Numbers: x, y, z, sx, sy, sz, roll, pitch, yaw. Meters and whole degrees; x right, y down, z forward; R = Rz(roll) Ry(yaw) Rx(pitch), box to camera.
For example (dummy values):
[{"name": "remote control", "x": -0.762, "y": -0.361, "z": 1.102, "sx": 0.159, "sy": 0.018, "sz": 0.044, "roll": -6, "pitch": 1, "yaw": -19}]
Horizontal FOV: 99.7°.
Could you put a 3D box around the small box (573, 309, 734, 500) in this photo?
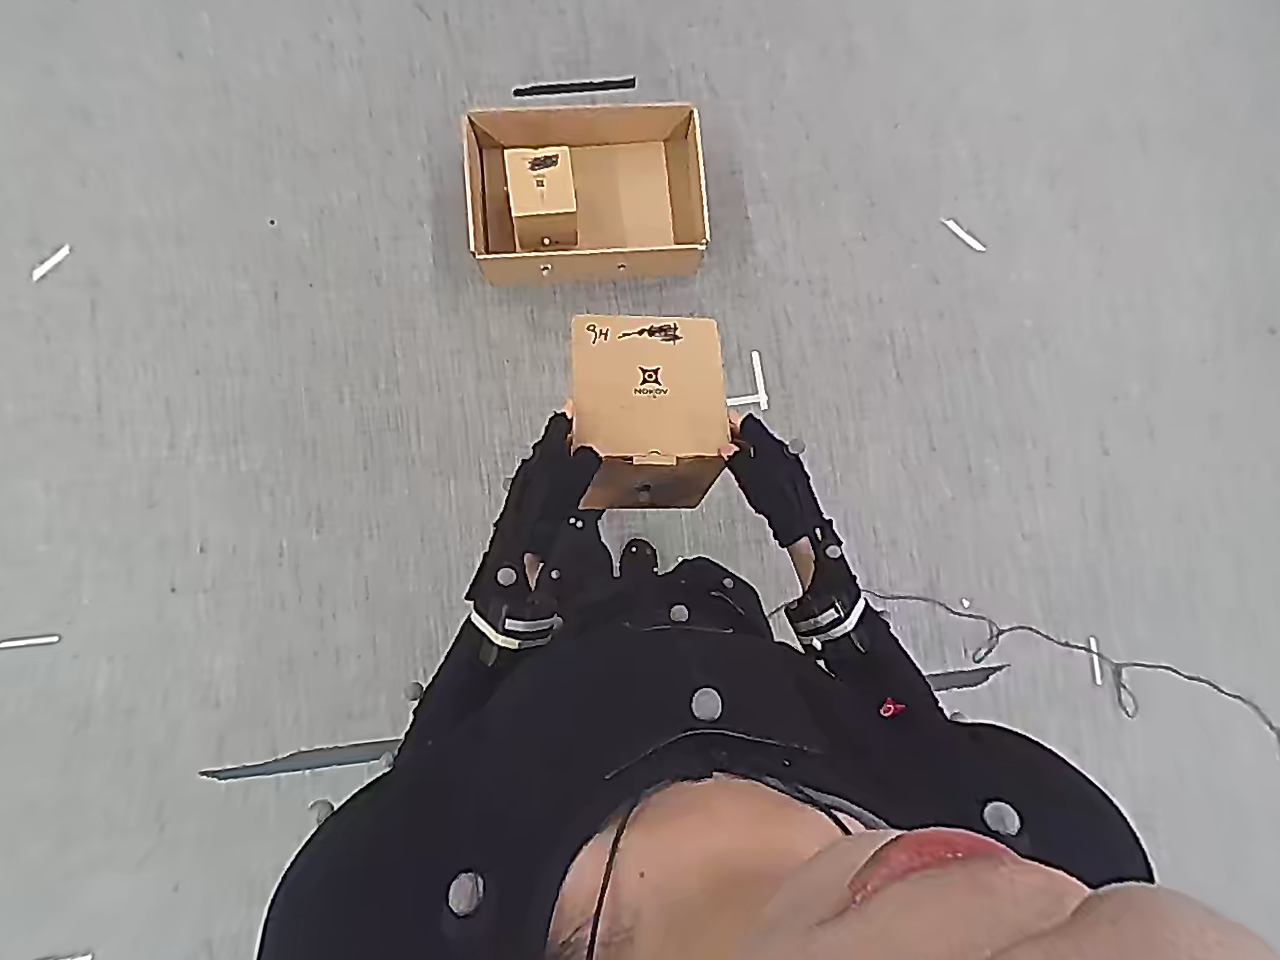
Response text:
[{"name": "small box", "x": 0.005, "y": -0.078, "z": 0.643, "sx": 0.168, "sy": 0.176, "sz": 0.179, "roll": 0, "pitch": 70, "yaw": -7}]

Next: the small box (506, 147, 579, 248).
[{"name": "small box", "x": -0.254, "y": -0.744, "z": 1.434, "sx": 0.168, "sy": 0.176, "sz": 0.179, "roll": -7, "pitch": 87, "yaw": -5}]
